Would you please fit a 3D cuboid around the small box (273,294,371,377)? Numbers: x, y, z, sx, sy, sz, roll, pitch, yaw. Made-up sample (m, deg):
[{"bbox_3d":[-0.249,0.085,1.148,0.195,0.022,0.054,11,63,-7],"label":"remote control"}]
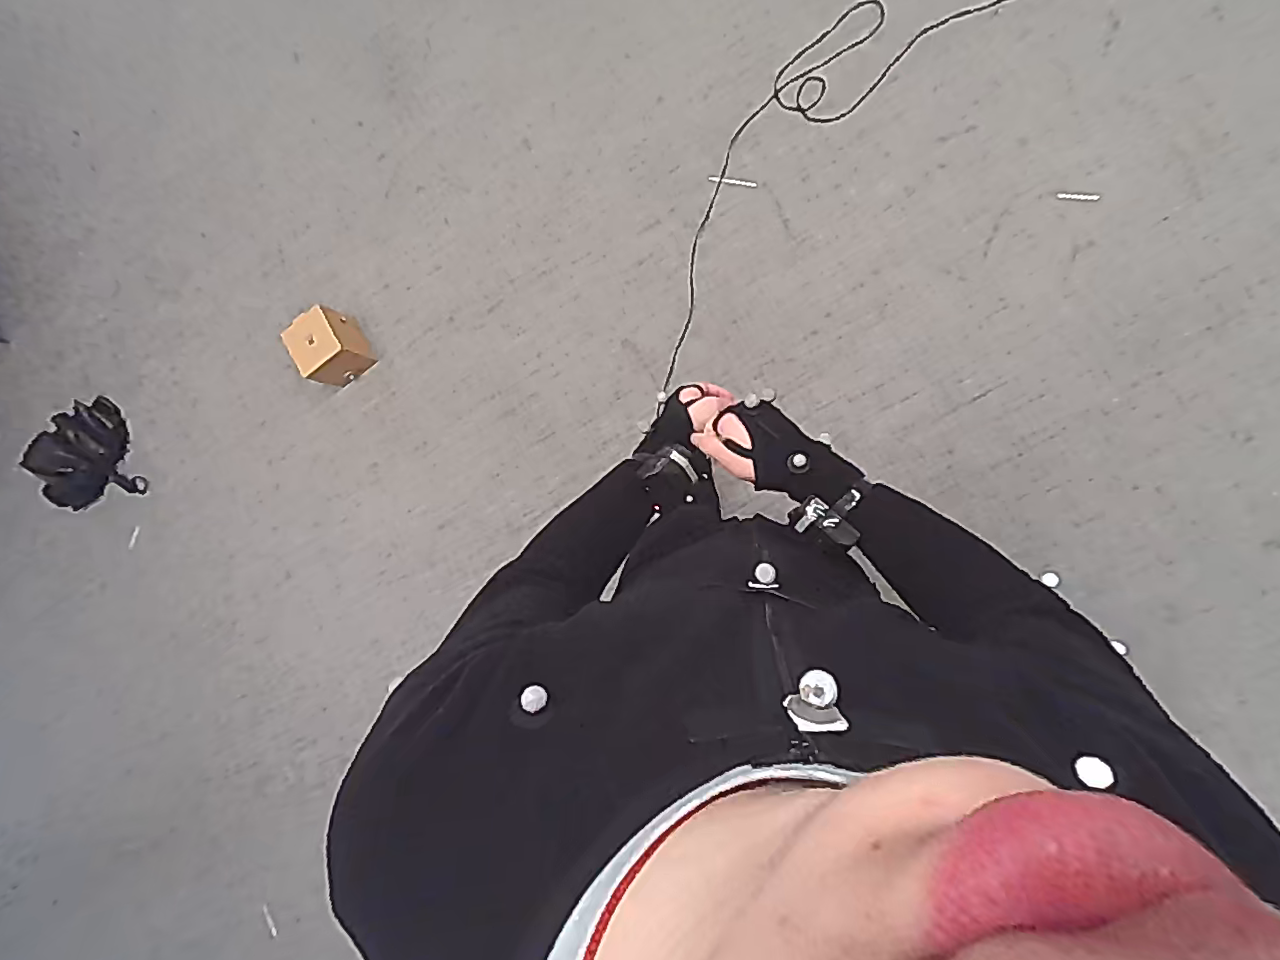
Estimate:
[{"bbox_3d":[-1.012,-0.455,1.733,0.168,0.176,0.179,-33,85,10],"label":"small box"}]
